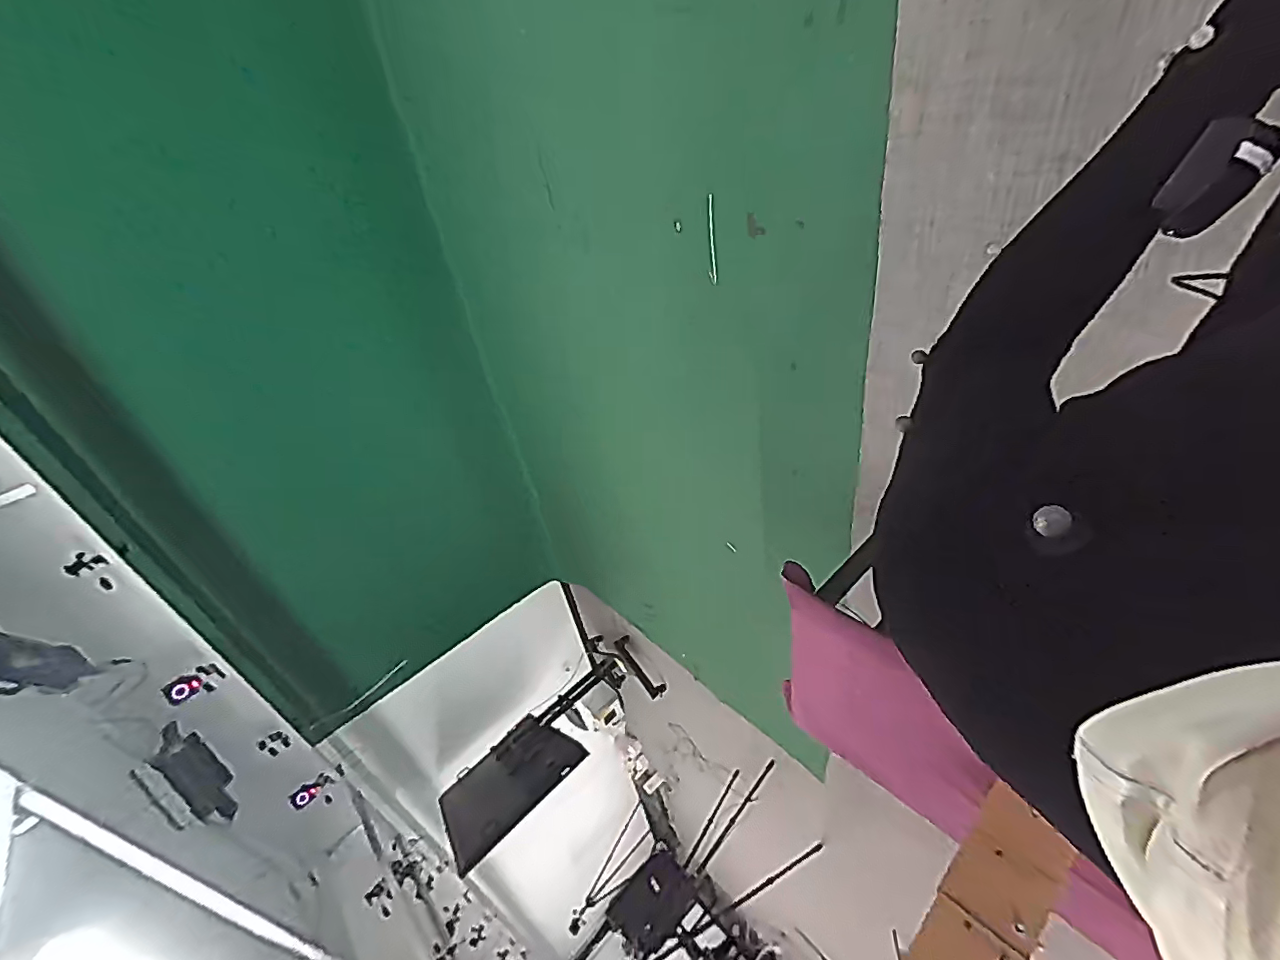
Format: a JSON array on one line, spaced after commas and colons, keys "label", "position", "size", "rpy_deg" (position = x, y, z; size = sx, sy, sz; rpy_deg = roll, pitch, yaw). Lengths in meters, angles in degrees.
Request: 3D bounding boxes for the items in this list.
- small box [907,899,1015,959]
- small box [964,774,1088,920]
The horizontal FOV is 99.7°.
[{"label": "small box", "position": [0.610, 0.956, 1.027], "size": [0.168, 0.176, 0.179], "rpy_deg": [25, 140, 44]}, {"label": "small box", "position": [0.849, 0.801, 1.193], "size": [0.168, 0.176, 0.179], "rpy_deg": [25, 139, 43]}]
